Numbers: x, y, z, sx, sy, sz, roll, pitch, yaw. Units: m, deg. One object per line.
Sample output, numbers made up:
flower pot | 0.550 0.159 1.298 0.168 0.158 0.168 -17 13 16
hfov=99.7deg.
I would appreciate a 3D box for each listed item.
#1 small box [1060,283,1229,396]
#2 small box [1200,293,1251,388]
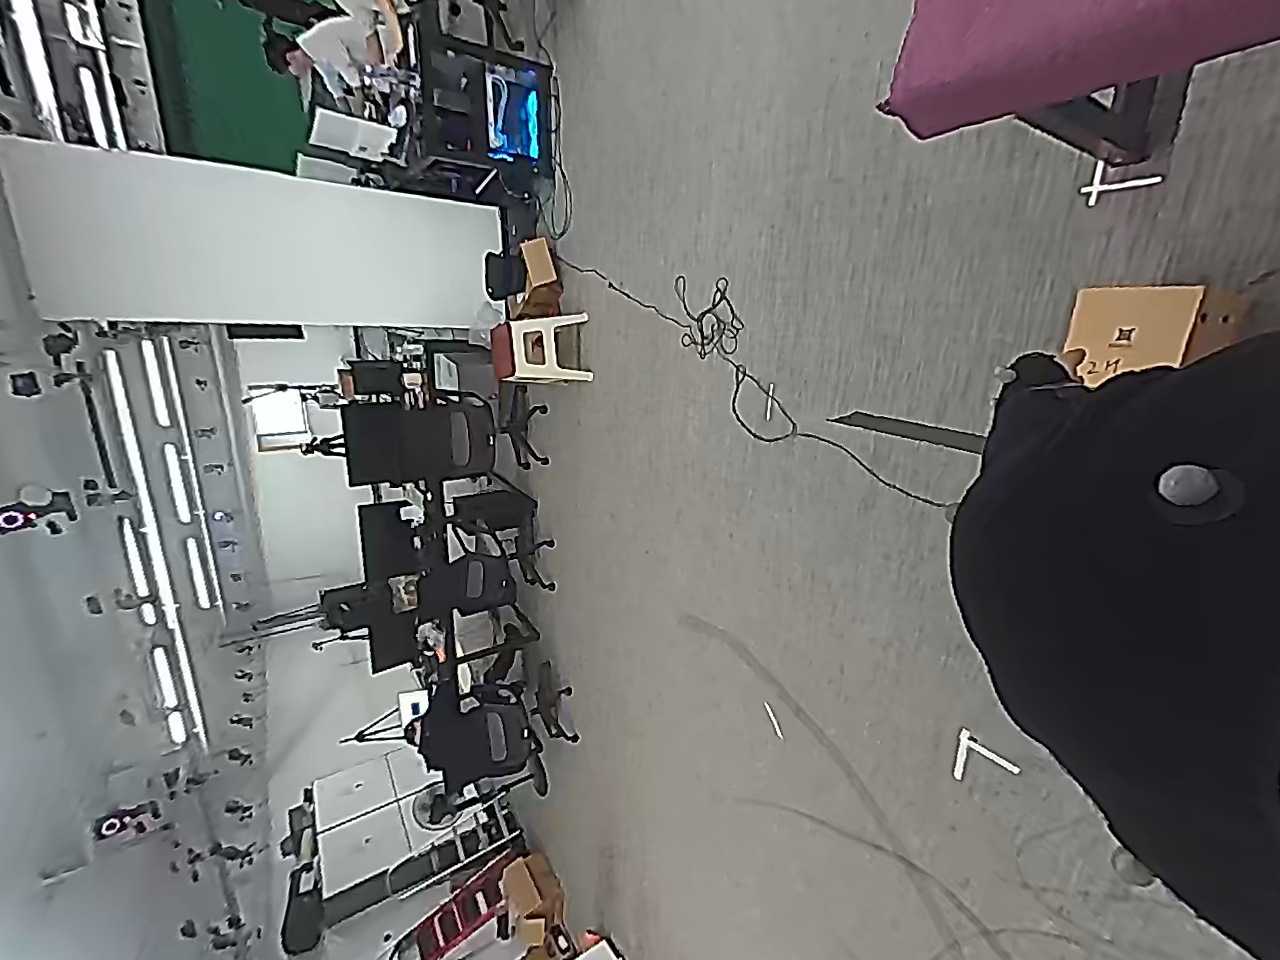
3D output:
small box | 0.895 -0.251 0.961 0.168 0.176 0.179 25 119 52
small box | 1.029 -0.278 1.054 0.168 0.176 0.179 33 124 49
